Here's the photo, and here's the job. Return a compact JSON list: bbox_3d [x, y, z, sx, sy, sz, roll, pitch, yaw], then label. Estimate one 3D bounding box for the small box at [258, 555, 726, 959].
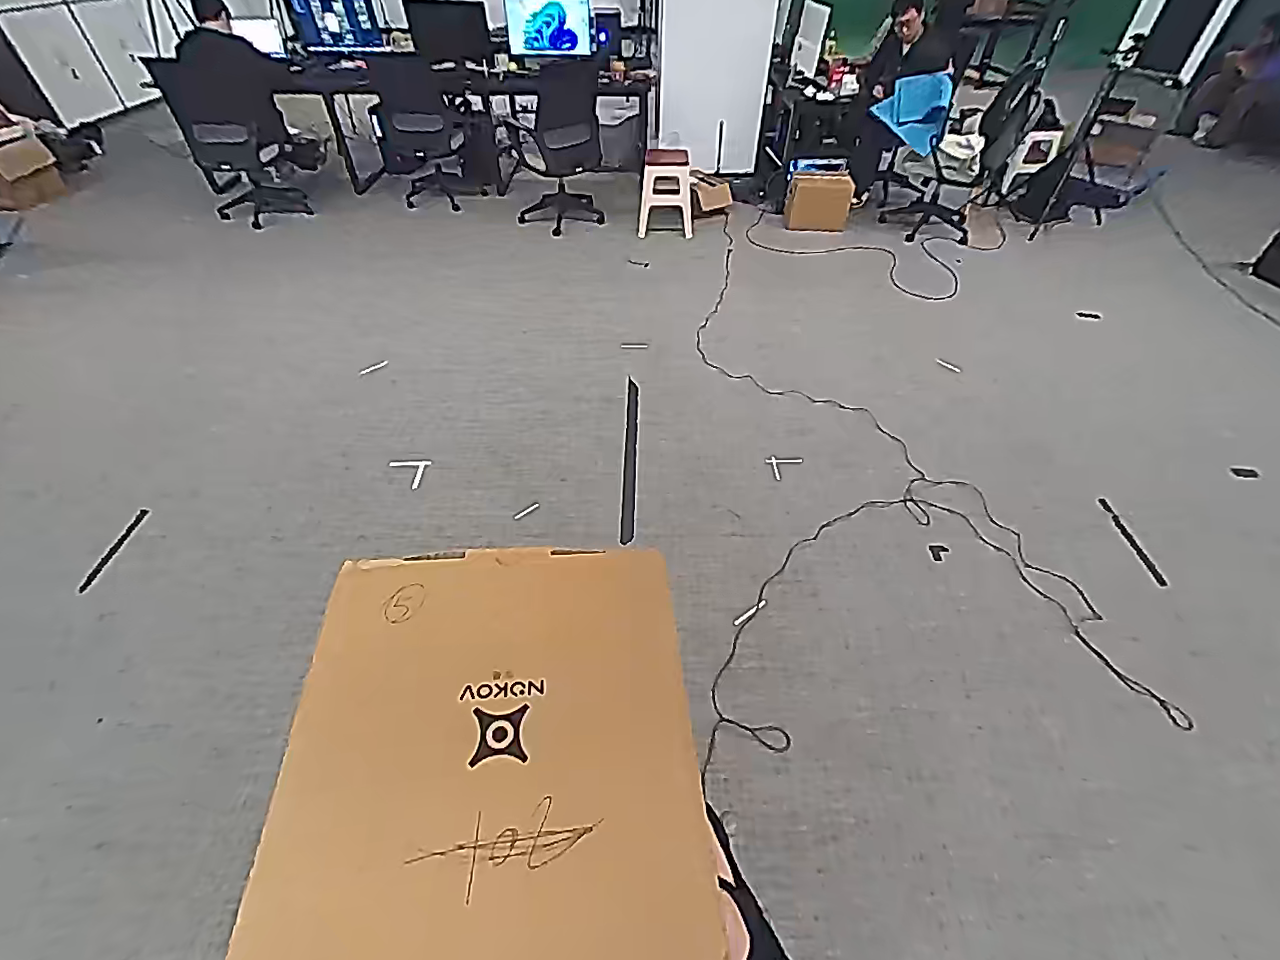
[{"bbox_3d":[-0.067,0.161,0.302,0.168,0.176,0.179,-1,50,-10],"label":"small box"}]
